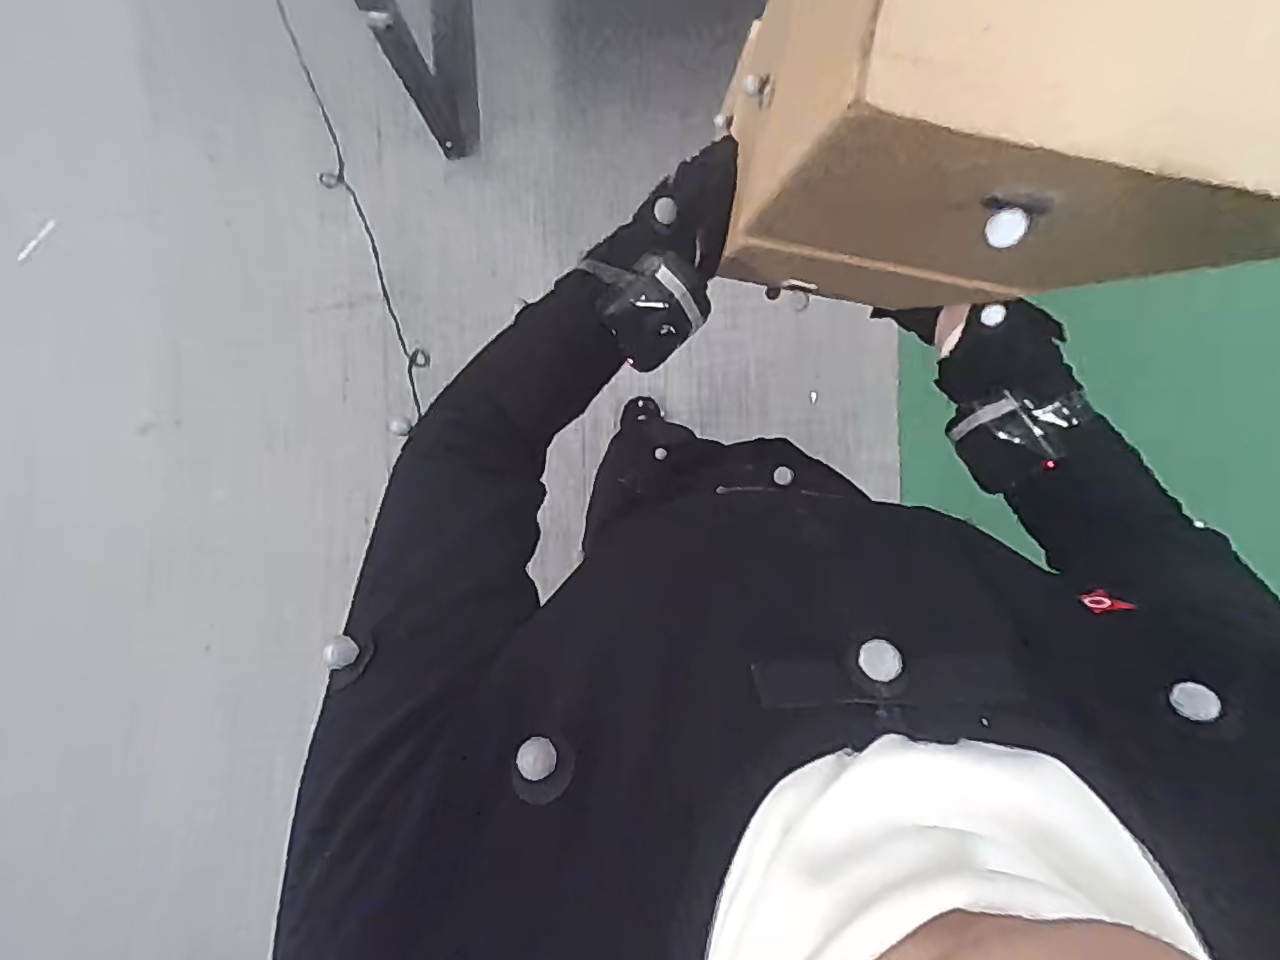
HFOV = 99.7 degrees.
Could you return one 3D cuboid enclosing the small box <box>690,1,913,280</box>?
[{"bbox_3d":[0.154,-0.293,0.513,0.179,0.176,0.168,9,104,-3],"label":"small box"}]
